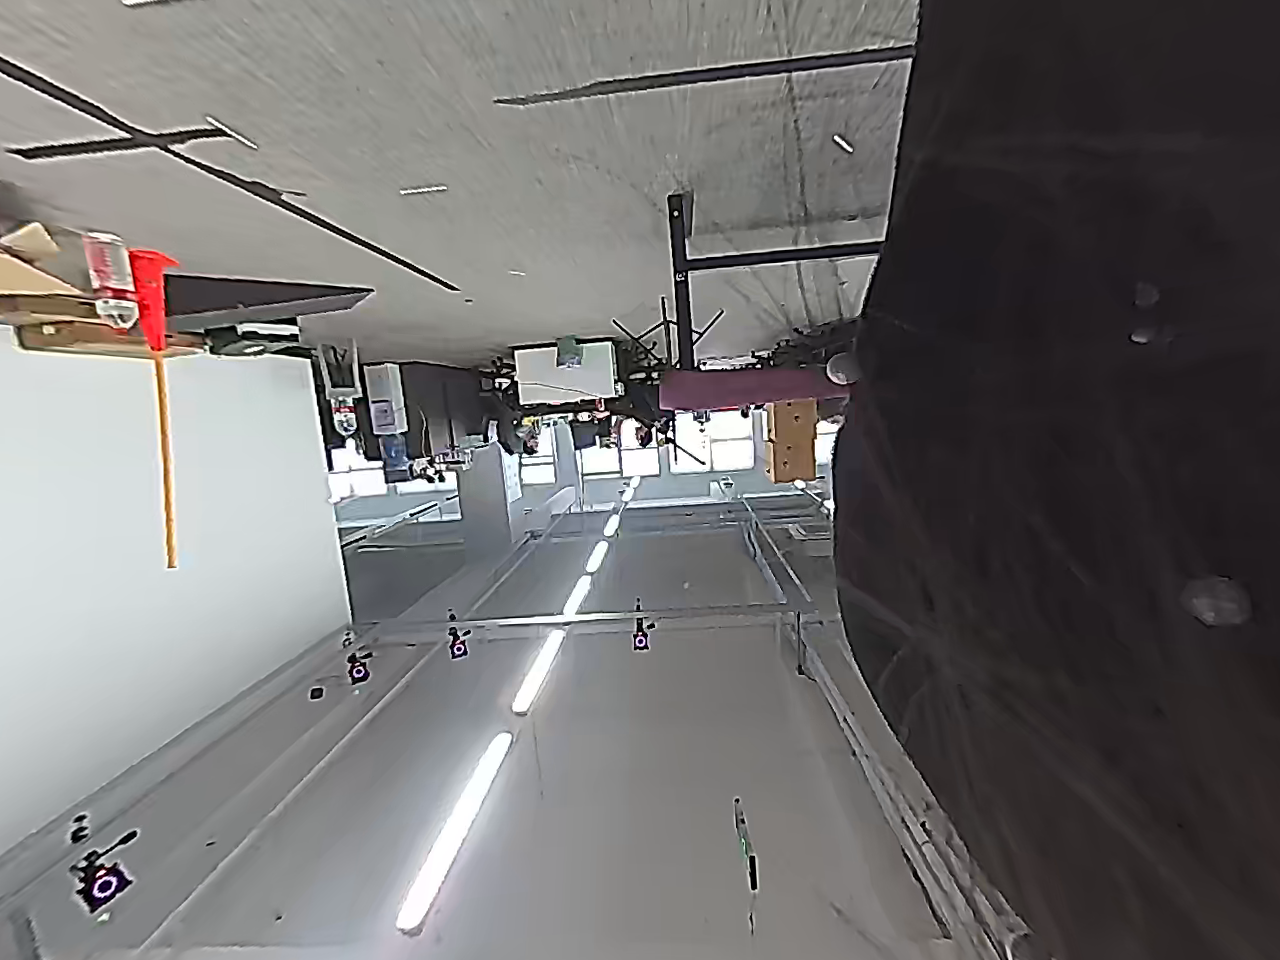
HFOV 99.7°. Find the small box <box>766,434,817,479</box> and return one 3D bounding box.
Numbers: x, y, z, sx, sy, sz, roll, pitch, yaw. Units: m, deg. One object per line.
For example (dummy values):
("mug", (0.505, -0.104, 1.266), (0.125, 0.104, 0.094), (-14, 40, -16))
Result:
("small box", (0.609, -0.107, 2.195), (0.168, 0.176, 0.179), (-4, -171, 2))

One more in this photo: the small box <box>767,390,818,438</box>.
("small box", (0.606, -0.267, 2.166), (0.168, 0.176, 0.179), (-4, -171, 4))
